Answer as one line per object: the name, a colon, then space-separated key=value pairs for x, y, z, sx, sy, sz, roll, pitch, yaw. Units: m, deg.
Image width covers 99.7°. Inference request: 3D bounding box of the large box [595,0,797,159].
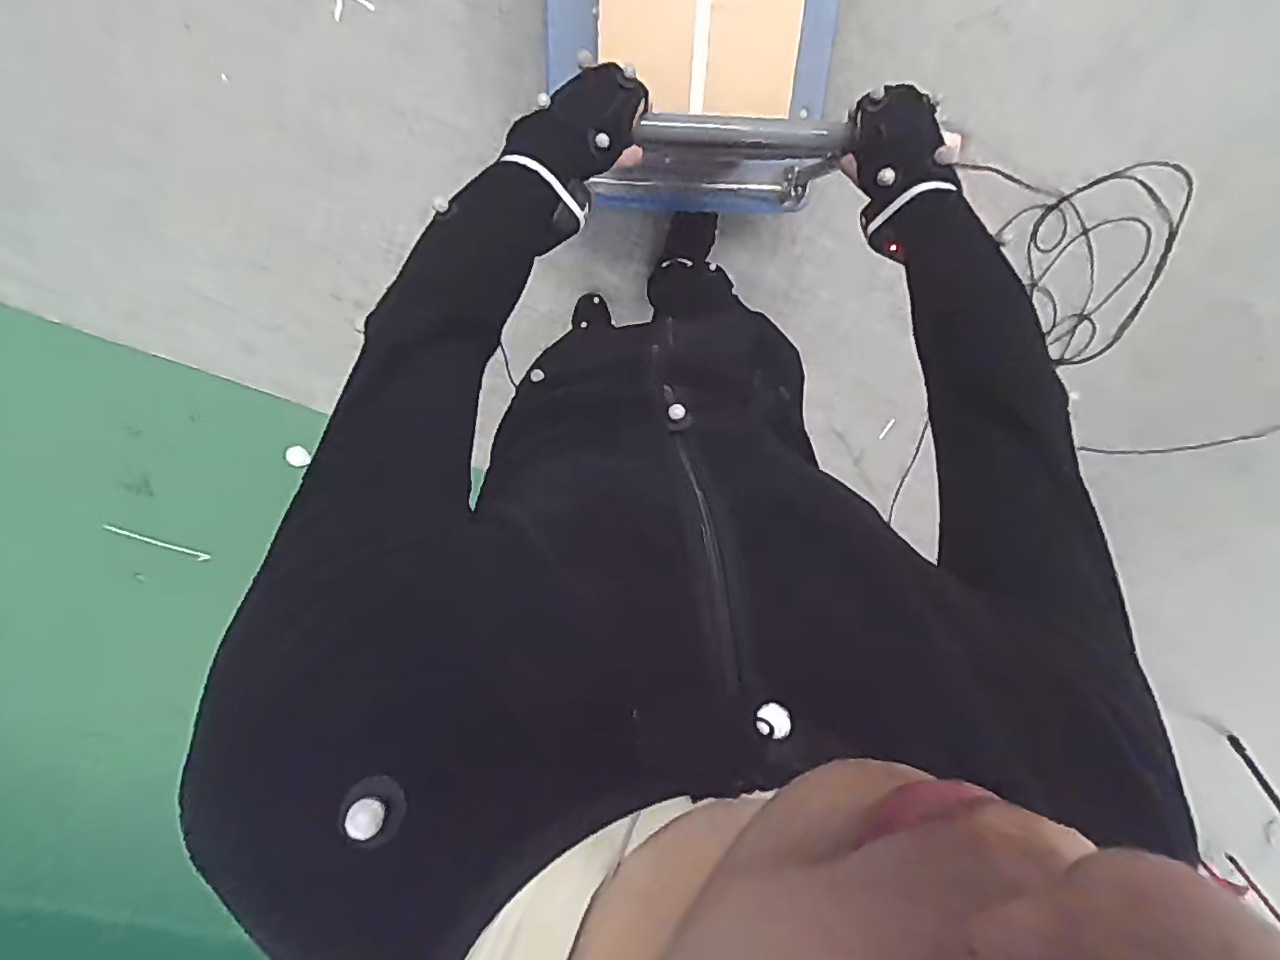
large box: x=0.086 y=-0.817 z=0.953 sx=0.320 sy=0.320 sz=0.408 roll=1 pitch=114 yaw=-3
